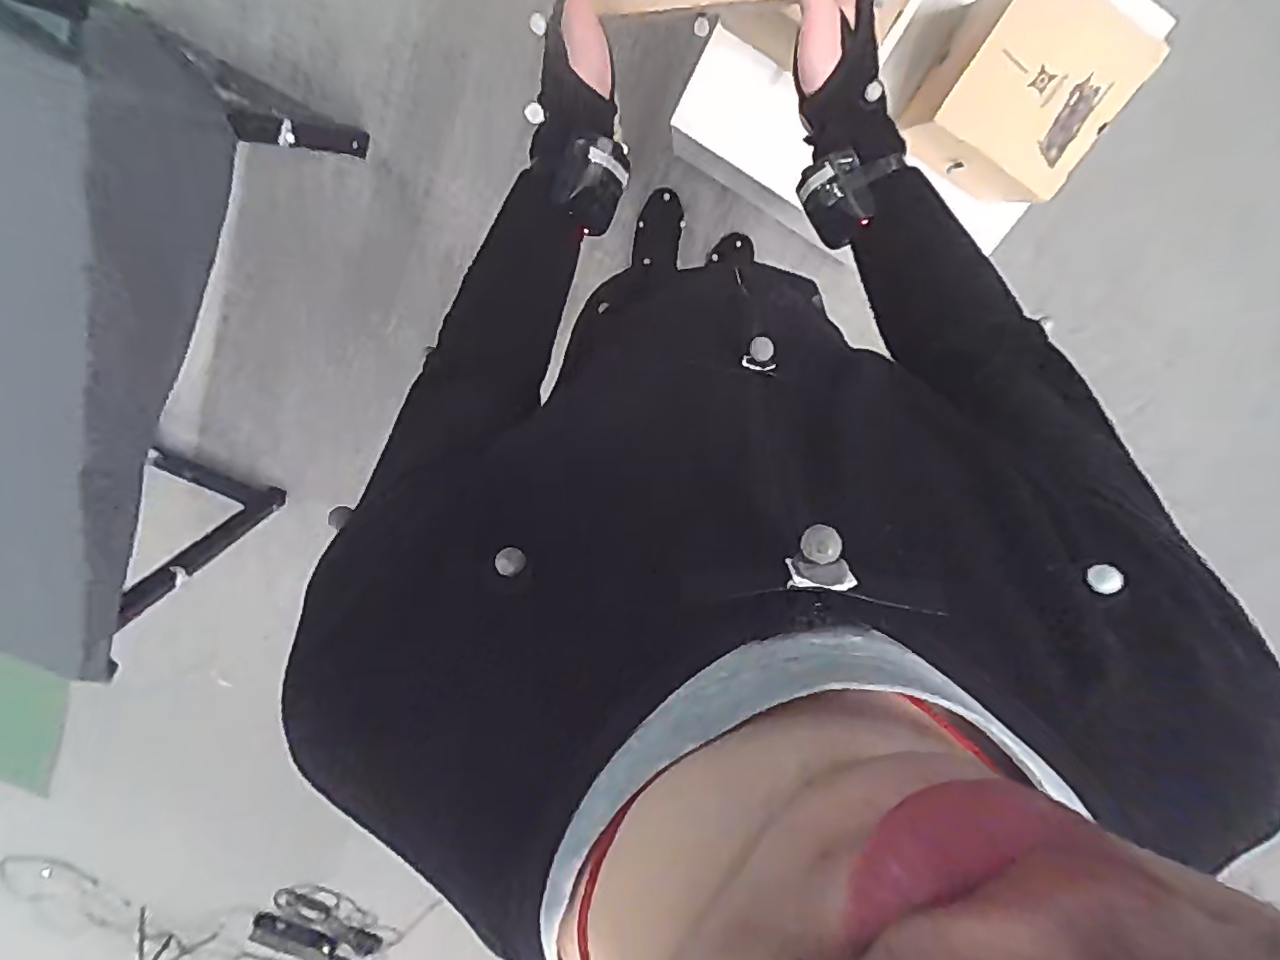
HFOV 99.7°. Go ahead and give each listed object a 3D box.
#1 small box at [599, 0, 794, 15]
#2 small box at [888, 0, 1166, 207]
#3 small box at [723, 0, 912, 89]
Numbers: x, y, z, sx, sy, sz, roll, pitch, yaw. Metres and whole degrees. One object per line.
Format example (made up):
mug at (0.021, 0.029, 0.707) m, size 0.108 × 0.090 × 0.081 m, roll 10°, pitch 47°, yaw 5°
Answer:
small box at (0.051, -0.455, 0.393) m, size 0.179 × 0.176 × 0.168 m, roll -3°, pitch 127°, yaw 1°
small box at (0.445, -0.458, 0.656) m, size 0.179 × 0.176 × 0.168 m, roll 28°, pitch 114°, yaw -10°
small box at (0.213, -0.578, 0.608) m, size 0.179 × 0.176 × 0.168 m, roll 26°, pitch 114°, yaw -10°
